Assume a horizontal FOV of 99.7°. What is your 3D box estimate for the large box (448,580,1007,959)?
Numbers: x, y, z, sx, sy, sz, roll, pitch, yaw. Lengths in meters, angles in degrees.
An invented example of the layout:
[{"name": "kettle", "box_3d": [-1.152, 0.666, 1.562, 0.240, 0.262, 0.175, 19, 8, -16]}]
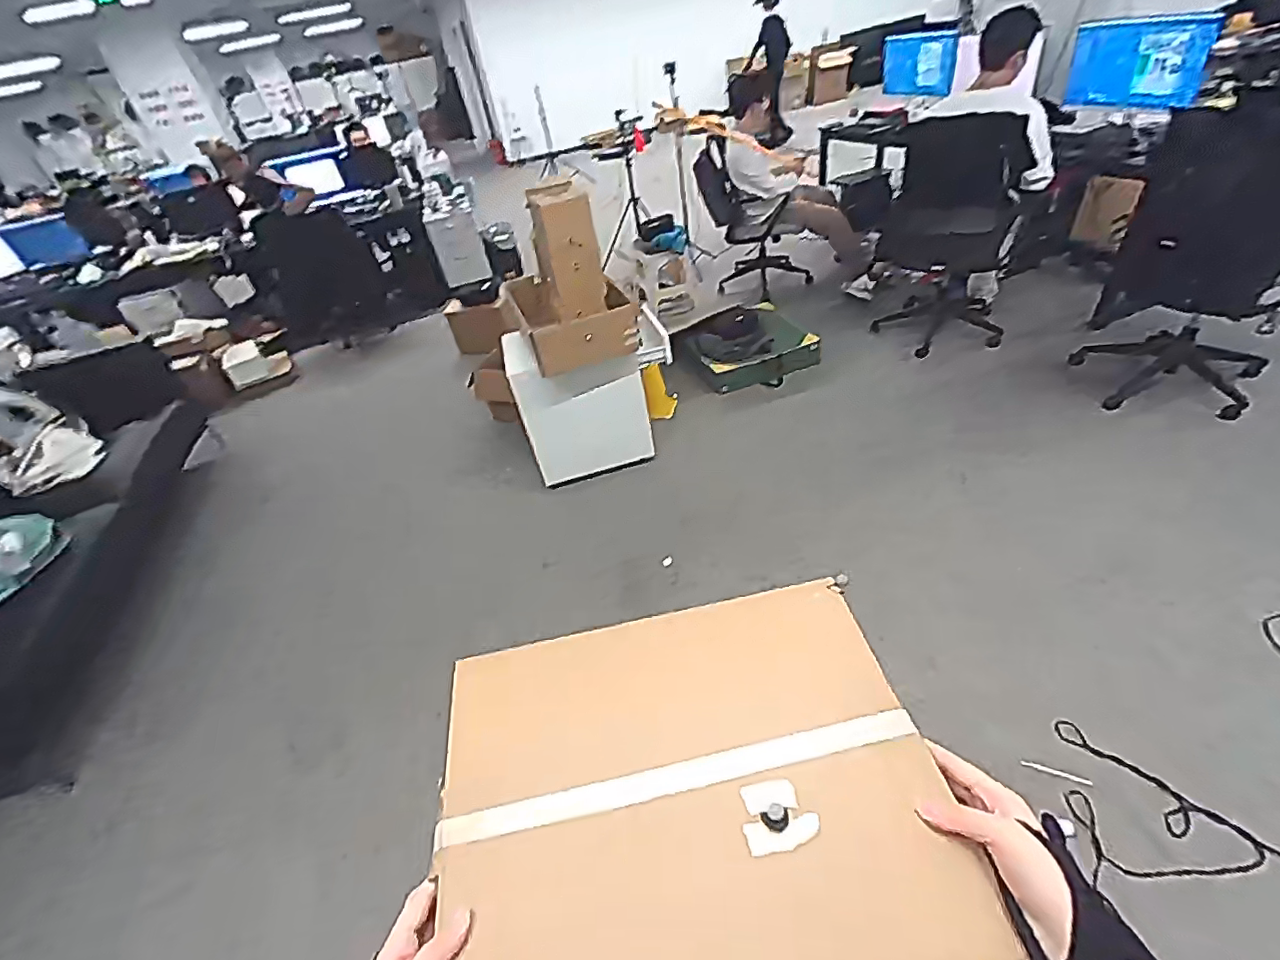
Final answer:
[{"name": "large box", "box_3d": [0.052, 0.357, 0.570, 0.408, 0.320, 0.320, -11, 44, -3]}]
